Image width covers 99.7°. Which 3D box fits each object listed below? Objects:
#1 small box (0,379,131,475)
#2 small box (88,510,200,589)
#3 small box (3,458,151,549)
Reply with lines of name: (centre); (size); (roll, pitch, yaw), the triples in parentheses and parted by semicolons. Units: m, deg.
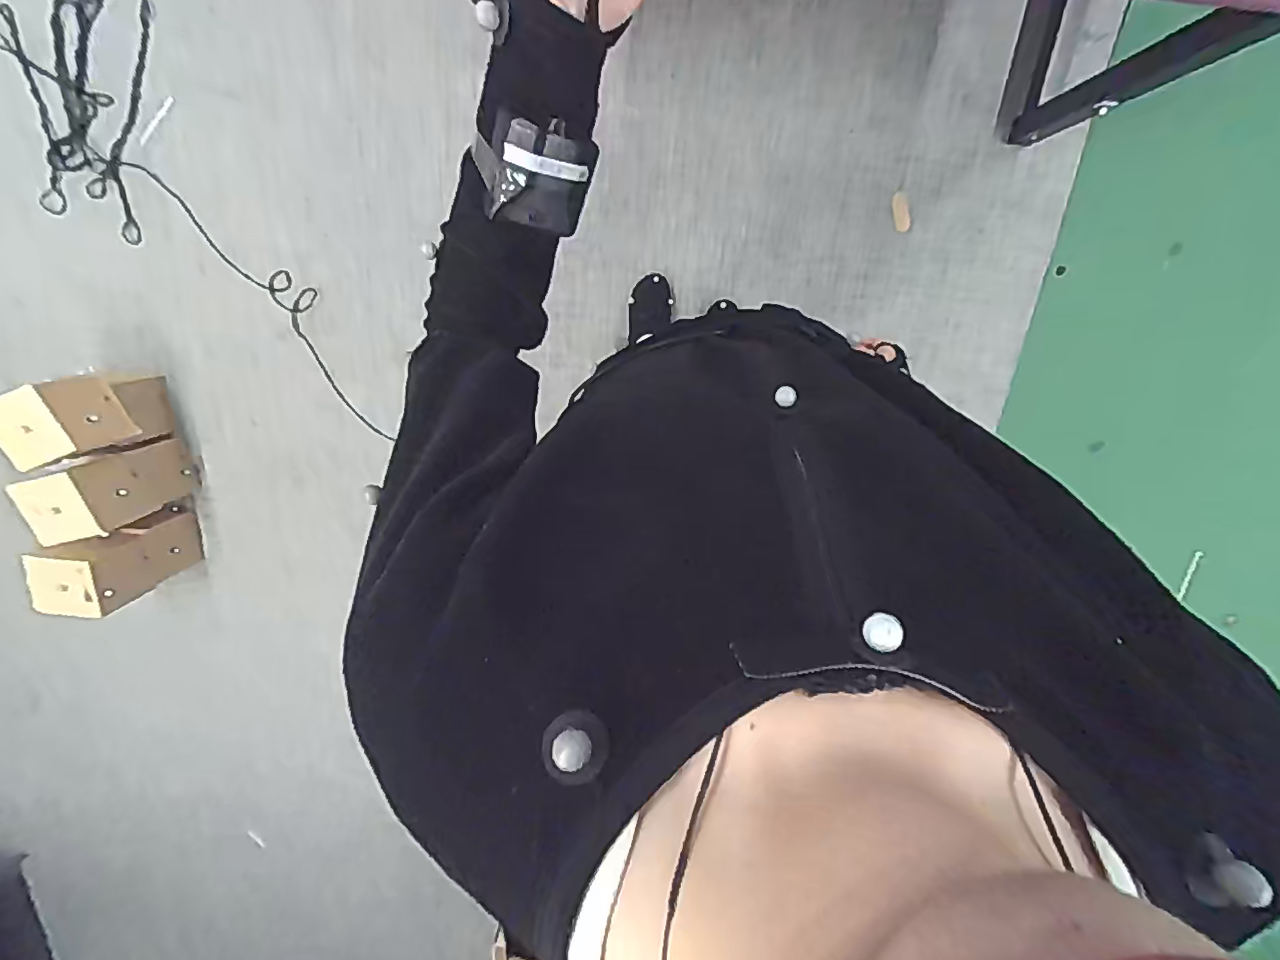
small box: (-1.397, -0.134, 1.304); (0.179, 0.176, 0.168); (-18, 106, 9)
small box: (-1.446, 0.197, 1.585); (0.168, 0.176, 0.179); (5, 109, 2)
small box: (-1.401, 0.053, 1.367); (0.179, 0.176, 0.168); (-11, 107, 7)
